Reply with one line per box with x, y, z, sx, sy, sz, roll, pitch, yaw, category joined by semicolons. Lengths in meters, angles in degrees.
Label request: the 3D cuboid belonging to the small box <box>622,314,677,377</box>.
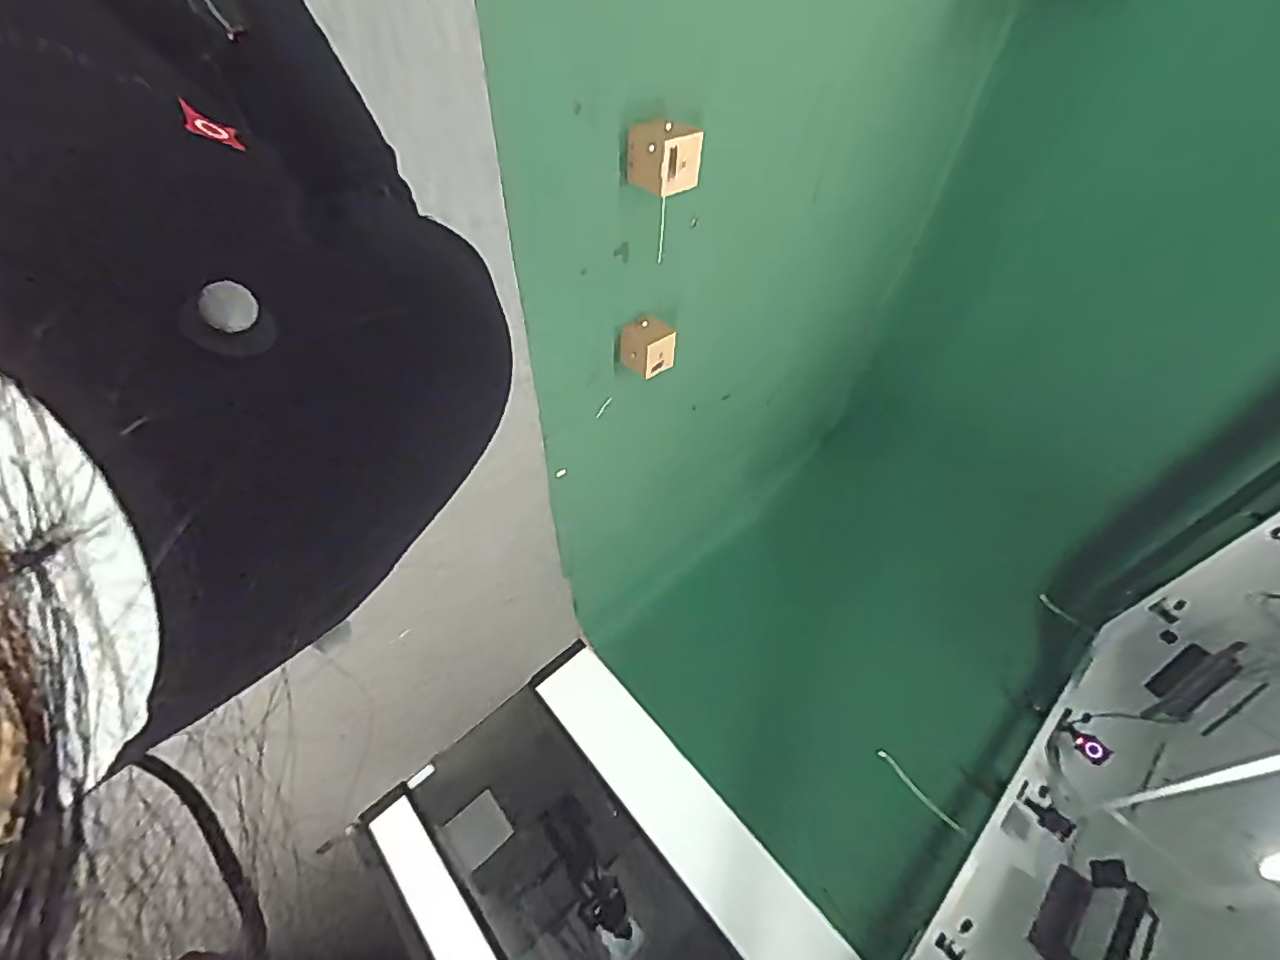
0.035;-0.576;2.311;0.168;0.176;0.179;-33;149;-28;small box
